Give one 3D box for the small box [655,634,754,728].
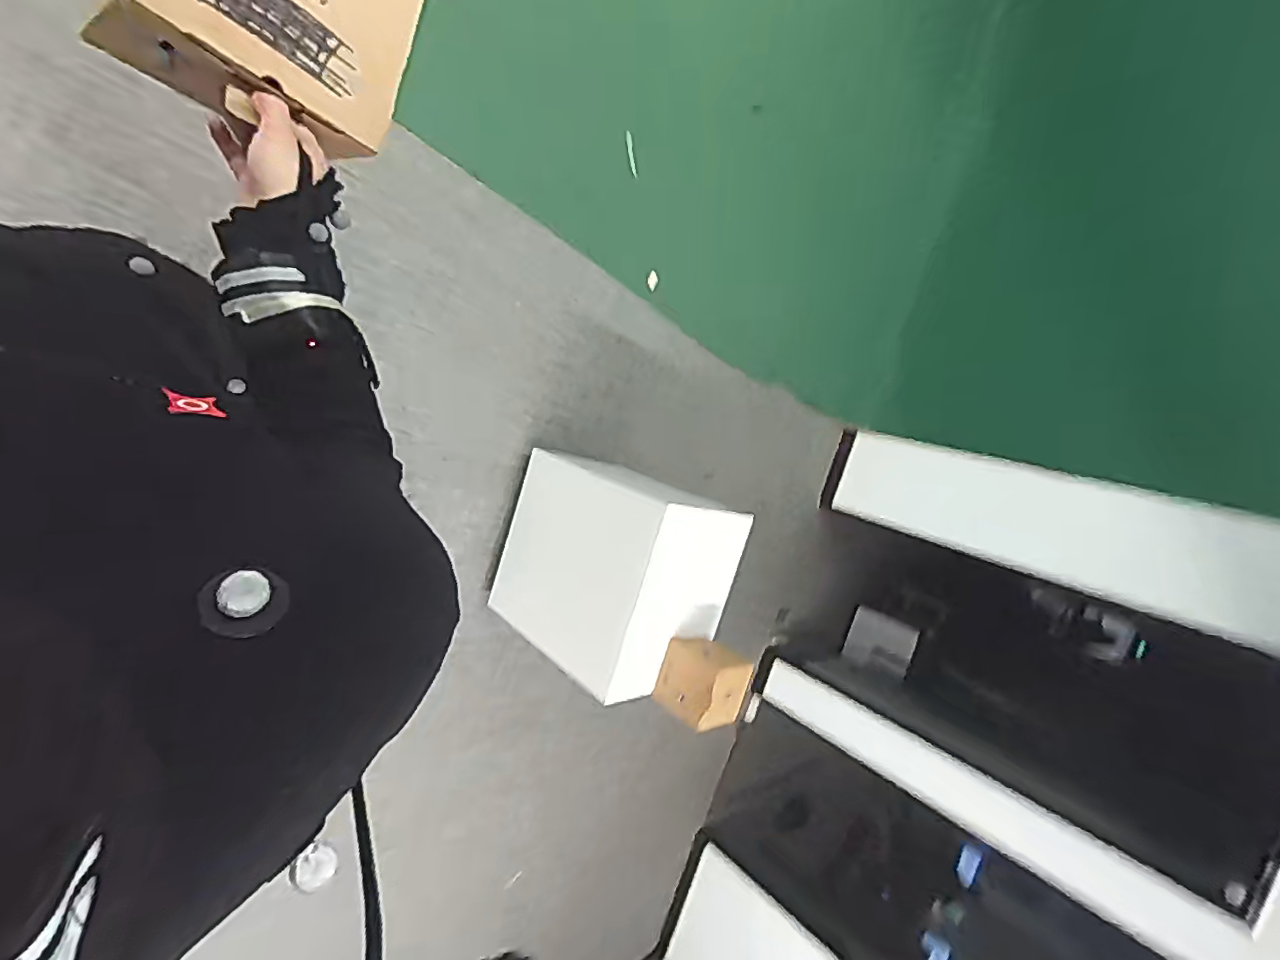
[{"bbox_3d":[0.166,0.522,1.429,0.179,0.176,0.168,14,96,-49],"label":"small box"}]
